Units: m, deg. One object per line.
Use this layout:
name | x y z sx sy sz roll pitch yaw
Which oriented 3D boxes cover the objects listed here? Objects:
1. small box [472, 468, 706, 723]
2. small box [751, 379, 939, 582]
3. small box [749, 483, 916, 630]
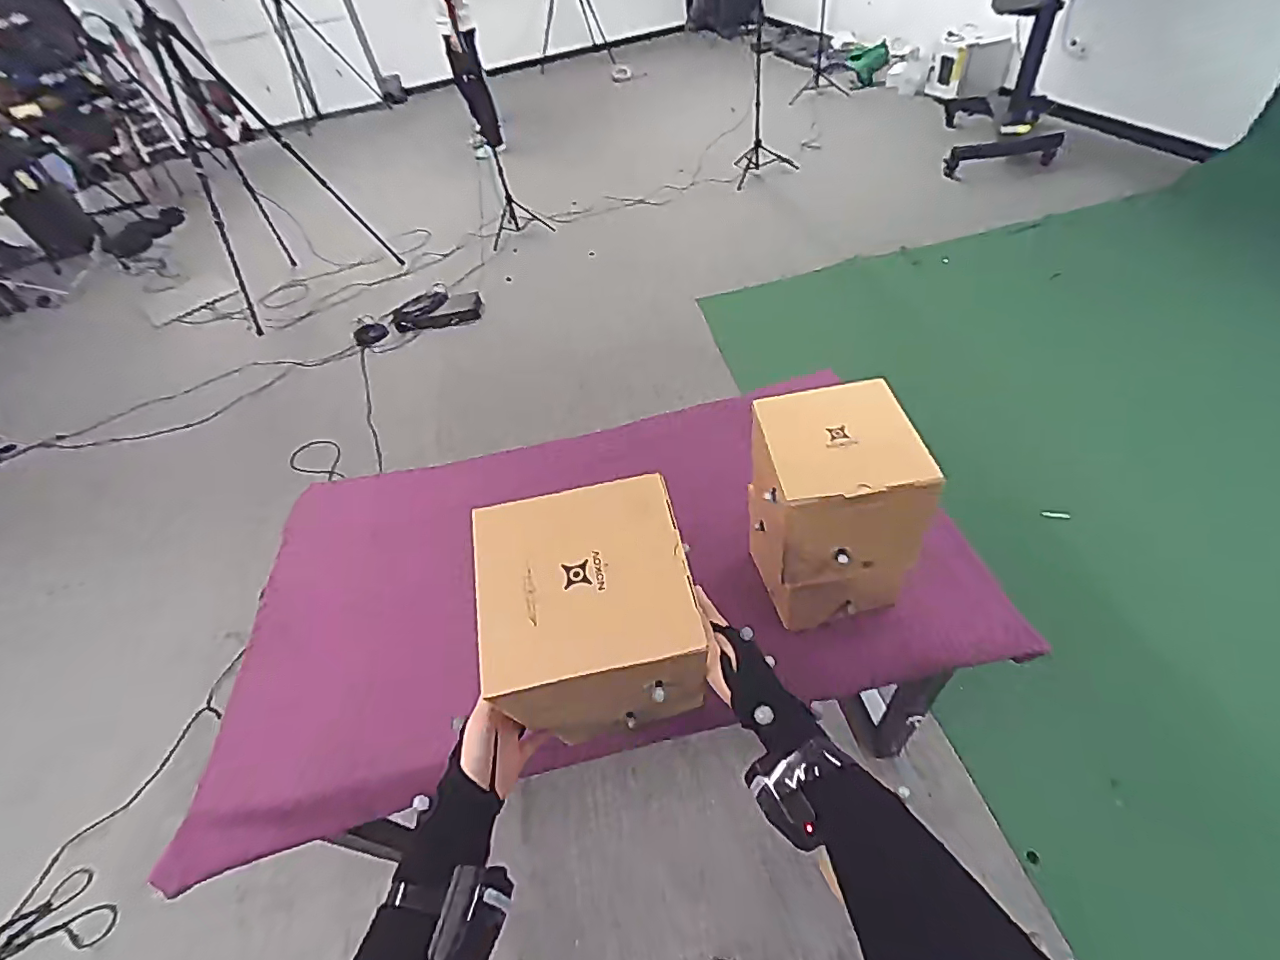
small box | -0.045 0.114 0.507 0.179 0.176 0.168 -11 57 -3
small box | 0.235 0.002 0.676 0.168 0.176 0.179 -10 46 4
small box | 0.271 0.097 0.807 0.179 0.176 0.168 -15 44 -2
